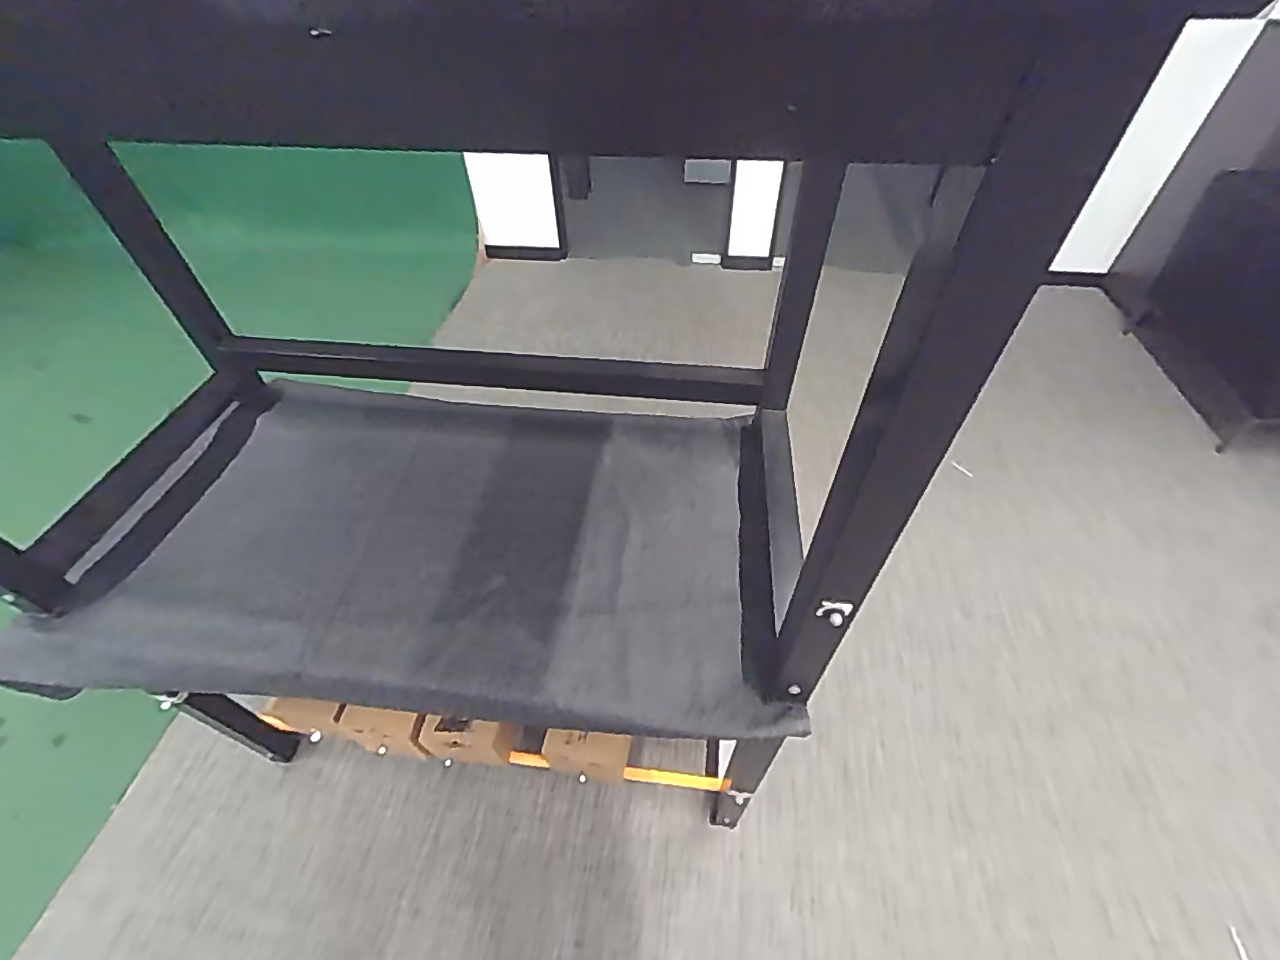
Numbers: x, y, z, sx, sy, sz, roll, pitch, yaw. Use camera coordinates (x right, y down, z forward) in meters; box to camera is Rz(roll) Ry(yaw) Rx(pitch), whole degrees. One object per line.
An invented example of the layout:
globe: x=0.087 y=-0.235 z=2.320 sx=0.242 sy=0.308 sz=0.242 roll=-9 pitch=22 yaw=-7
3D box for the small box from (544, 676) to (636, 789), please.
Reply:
small box: x=-0.106 y=0.583 z=1.244 sx=0.168 sy=0.176 sz=0.179 roll=8 pitch=50 yaw=10
